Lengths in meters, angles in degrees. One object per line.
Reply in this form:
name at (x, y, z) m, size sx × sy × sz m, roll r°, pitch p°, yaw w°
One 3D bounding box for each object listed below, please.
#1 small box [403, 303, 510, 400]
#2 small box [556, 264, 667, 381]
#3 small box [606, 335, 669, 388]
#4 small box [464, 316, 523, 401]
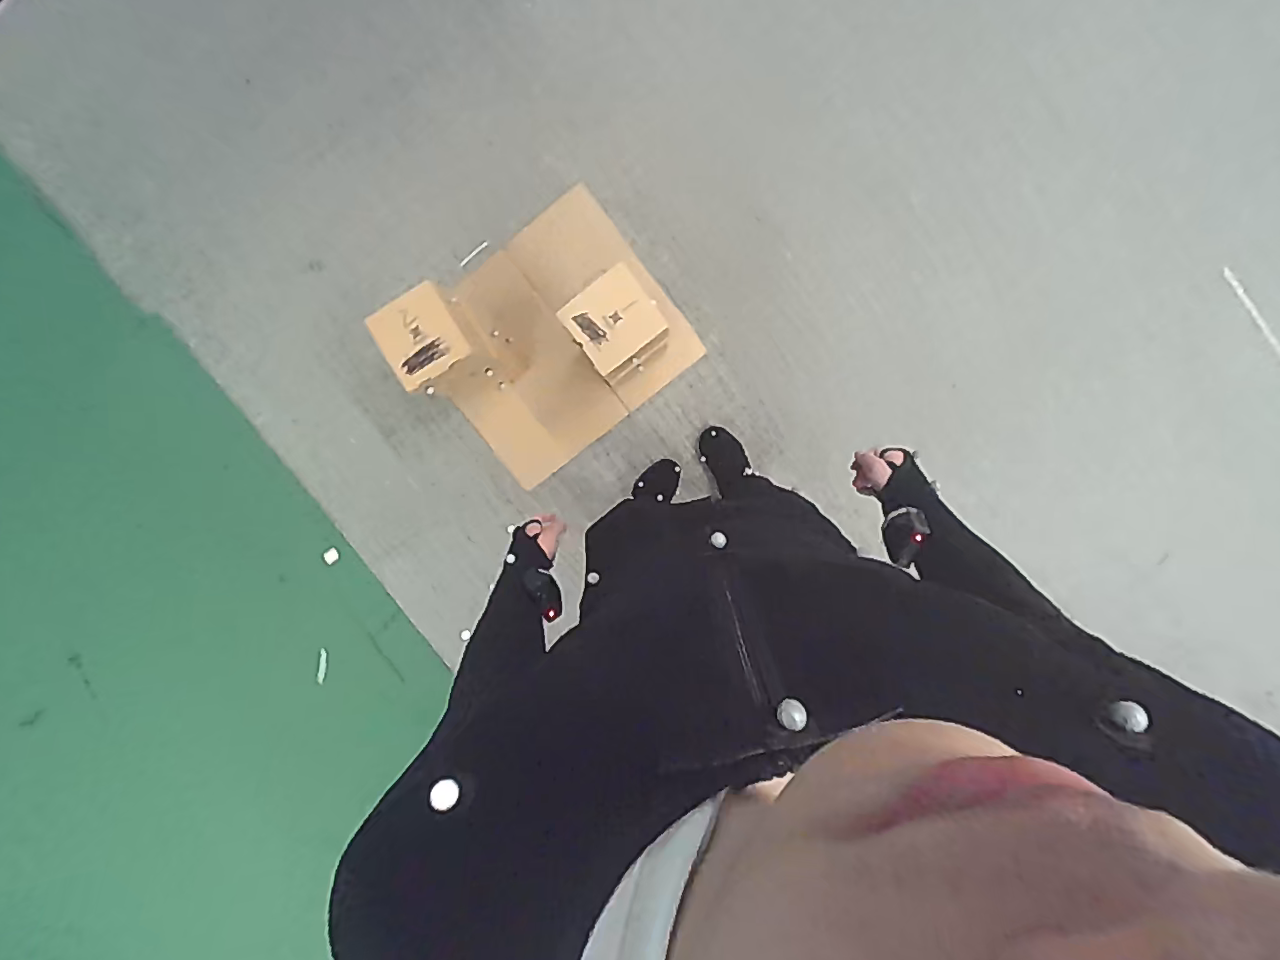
small box at (-0.447, -0.315, 1.360) m, size 0.179 × 0.176 × 0.168 m, roll -30°, pitch 93°, yaw 5°
small box at (-0.055, -0.332, 1.183) m, size 0.179 × 0.176 × 0.168 m, roll -37°, pitch 95°, yaw 6°
small box at (-0.046, -0.347, 1.347) m, size 0.179 × 0.176 × 0.168 m, roll -38°, pitch 94°, yaw 7°
small box at (-0.447, -0.335, 1.525) m, size 0.179 × 0.176 × 0.168 m, roll -29°, pitch 94°, yaw 4°
